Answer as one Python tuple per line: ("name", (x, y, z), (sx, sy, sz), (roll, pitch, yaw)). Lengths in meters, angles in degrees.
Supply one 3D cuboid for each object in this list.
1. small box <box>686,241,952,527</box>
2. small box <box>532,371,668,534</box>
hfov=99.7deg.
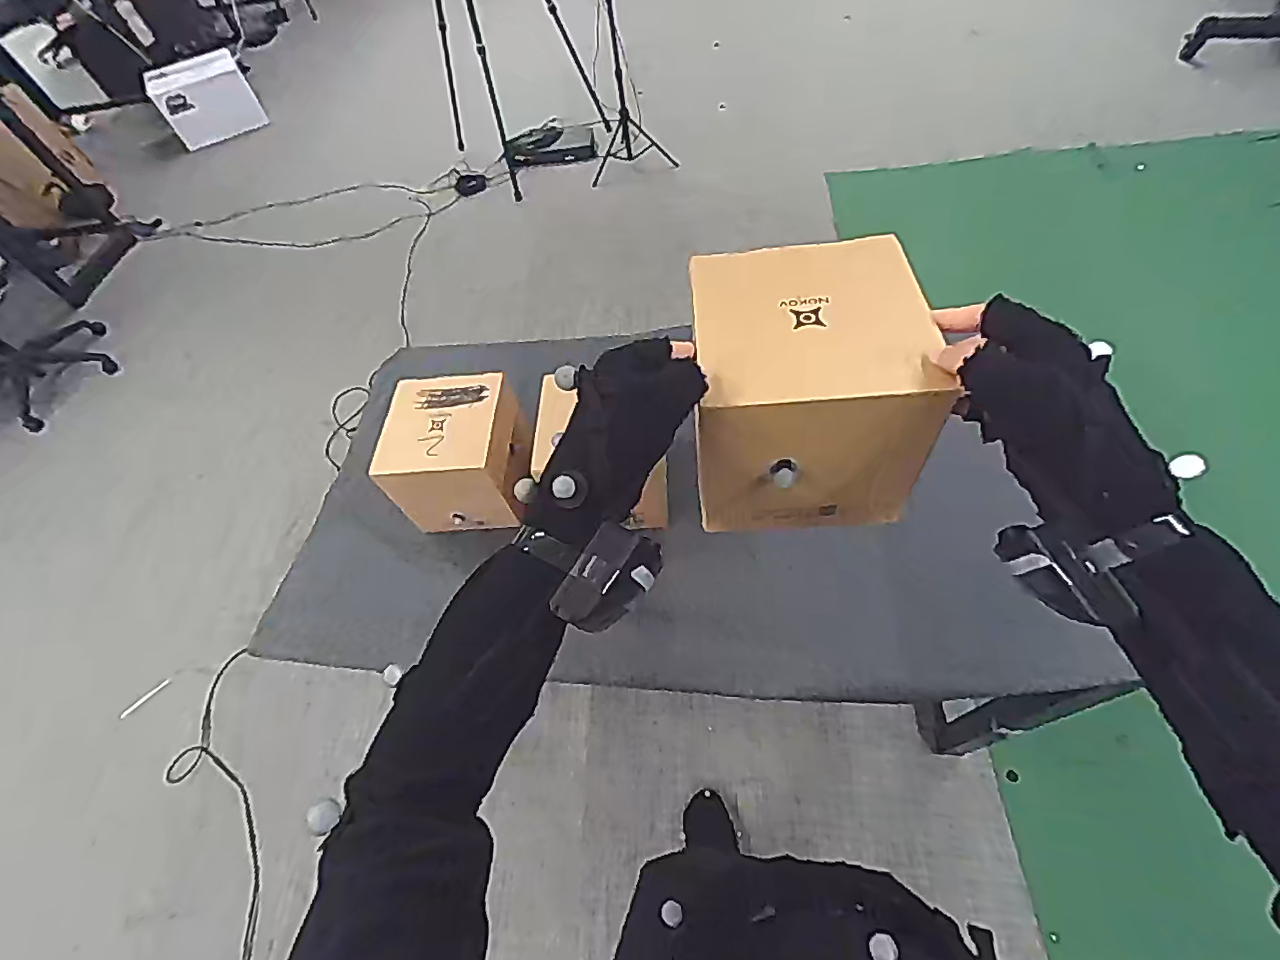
("small box", (0.129, -0.070, 0.460), (0.168, 0.176, 0.179), (-4, 54, 6))
("small box", (-0.048, -0.037, 0.799), (0.168, 0.176, 0.179), (-4, 56, 6))
